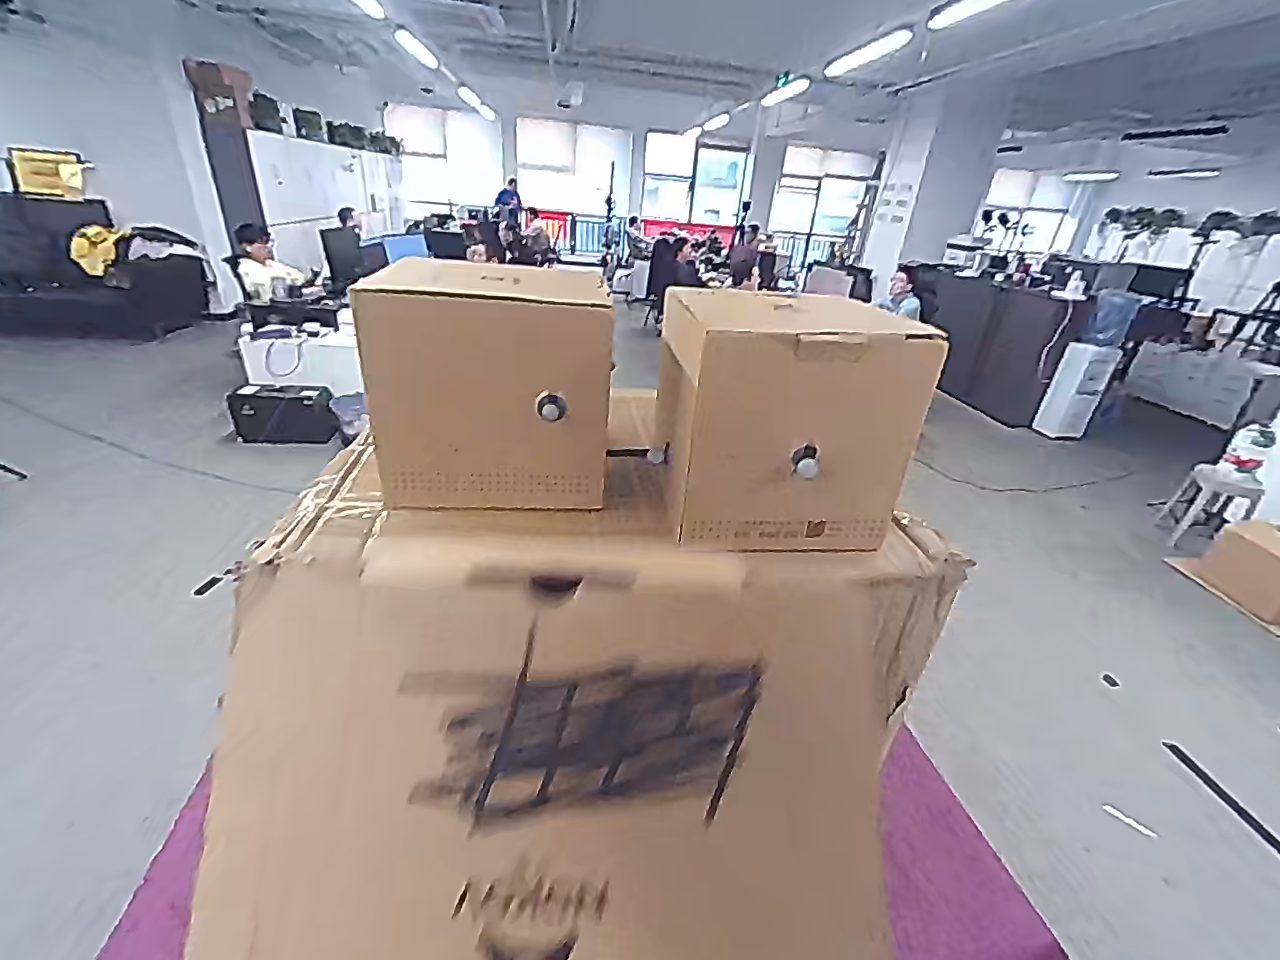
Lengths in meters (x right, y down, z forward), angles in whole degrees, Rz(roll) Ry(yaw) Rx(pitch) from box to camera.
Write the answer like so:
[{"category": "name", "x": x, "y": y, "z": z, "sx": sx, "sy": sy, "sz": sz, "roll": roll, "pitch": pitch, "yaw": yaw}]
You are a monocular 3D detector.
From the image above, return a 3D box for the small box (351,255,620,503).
[{"category": "small box", "x": -0.116, "y": -0.089, "z": 0.464, "sx": 0.179, "sy": 0.176, "sz": 0.168, "roll": 0, "pitch": 27, "yaw": -9}]

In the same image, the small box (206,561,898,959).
[{"category": "small box", "x": -0.020, "y": 0.129, "z": 0.207, "sx": 0.168, "sy": 0.179, "sz": 0.176, "roll": 1, "pitch": -14, "yaw": 1}]

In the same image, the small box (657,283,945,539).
[{"category": "small box", "x": 0.108, "y": -0.062, "z": 0.453, "sx": 0.168, "sy": 0.176, "sz": 0.179, "roll": 0, "pitch": 28, "yaw": -7}]
